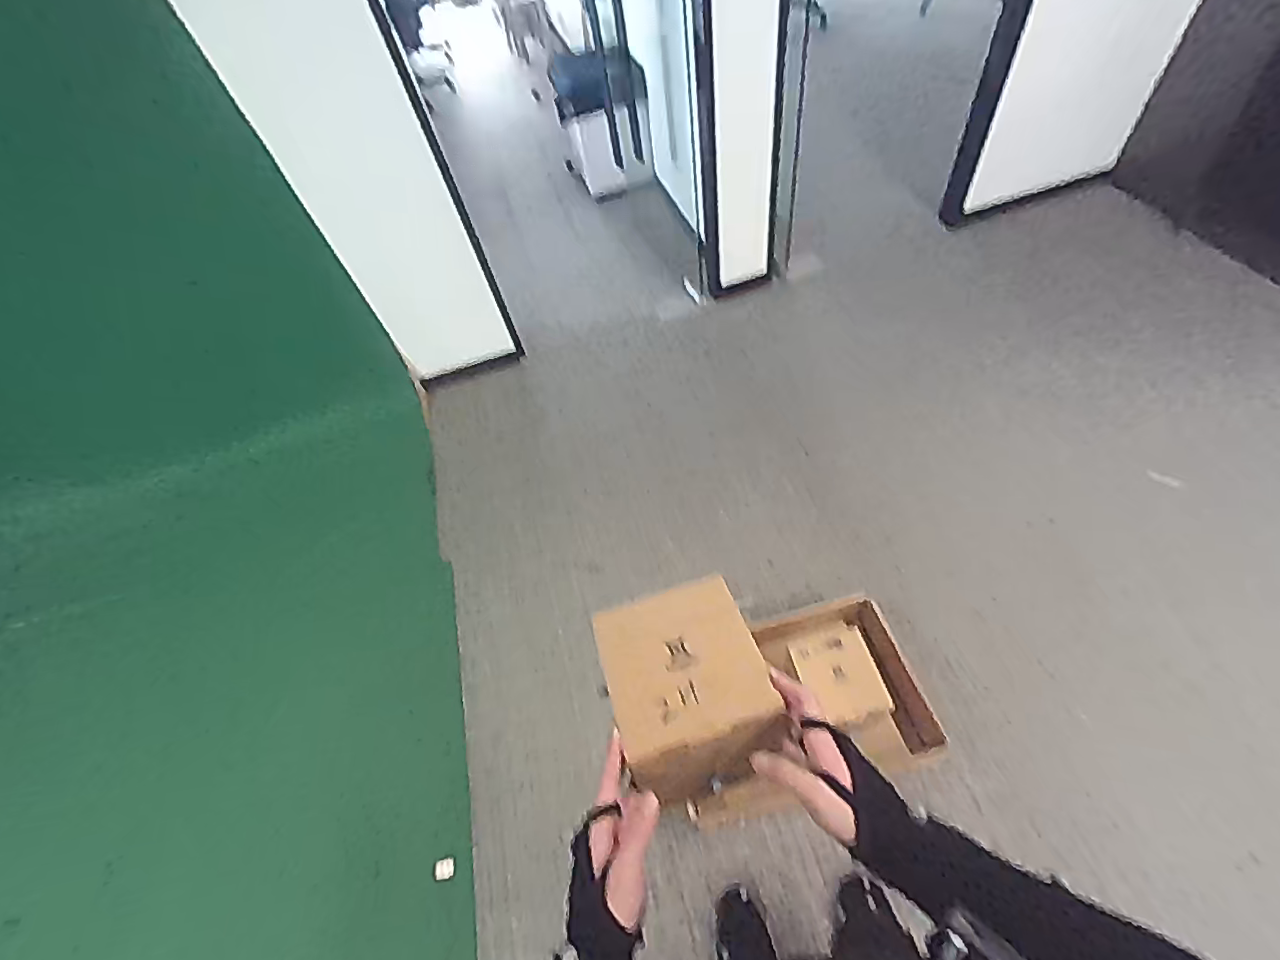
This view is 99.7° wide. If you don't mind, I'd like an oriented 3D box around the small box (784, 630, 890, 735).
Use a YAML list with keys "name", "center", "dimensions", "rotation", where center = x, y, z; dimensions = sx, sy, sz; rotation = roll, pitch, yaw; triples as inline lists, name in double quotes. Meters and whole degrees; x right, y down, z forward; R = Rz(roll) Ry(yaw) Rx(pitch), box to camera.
- name: "small box"
  center: [0.435, 0.466, 1.225]
  dimensions: [0.168, 0.176, 0.179]
  rotation: [-15, 55, 1]

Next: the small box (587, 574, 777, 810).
- name: "small box"
  center: [0.046, 0.245, 0.631]
  dimensions: [0.168, 0.176, 0.179]
  rotation: [-17, 42, -5]
